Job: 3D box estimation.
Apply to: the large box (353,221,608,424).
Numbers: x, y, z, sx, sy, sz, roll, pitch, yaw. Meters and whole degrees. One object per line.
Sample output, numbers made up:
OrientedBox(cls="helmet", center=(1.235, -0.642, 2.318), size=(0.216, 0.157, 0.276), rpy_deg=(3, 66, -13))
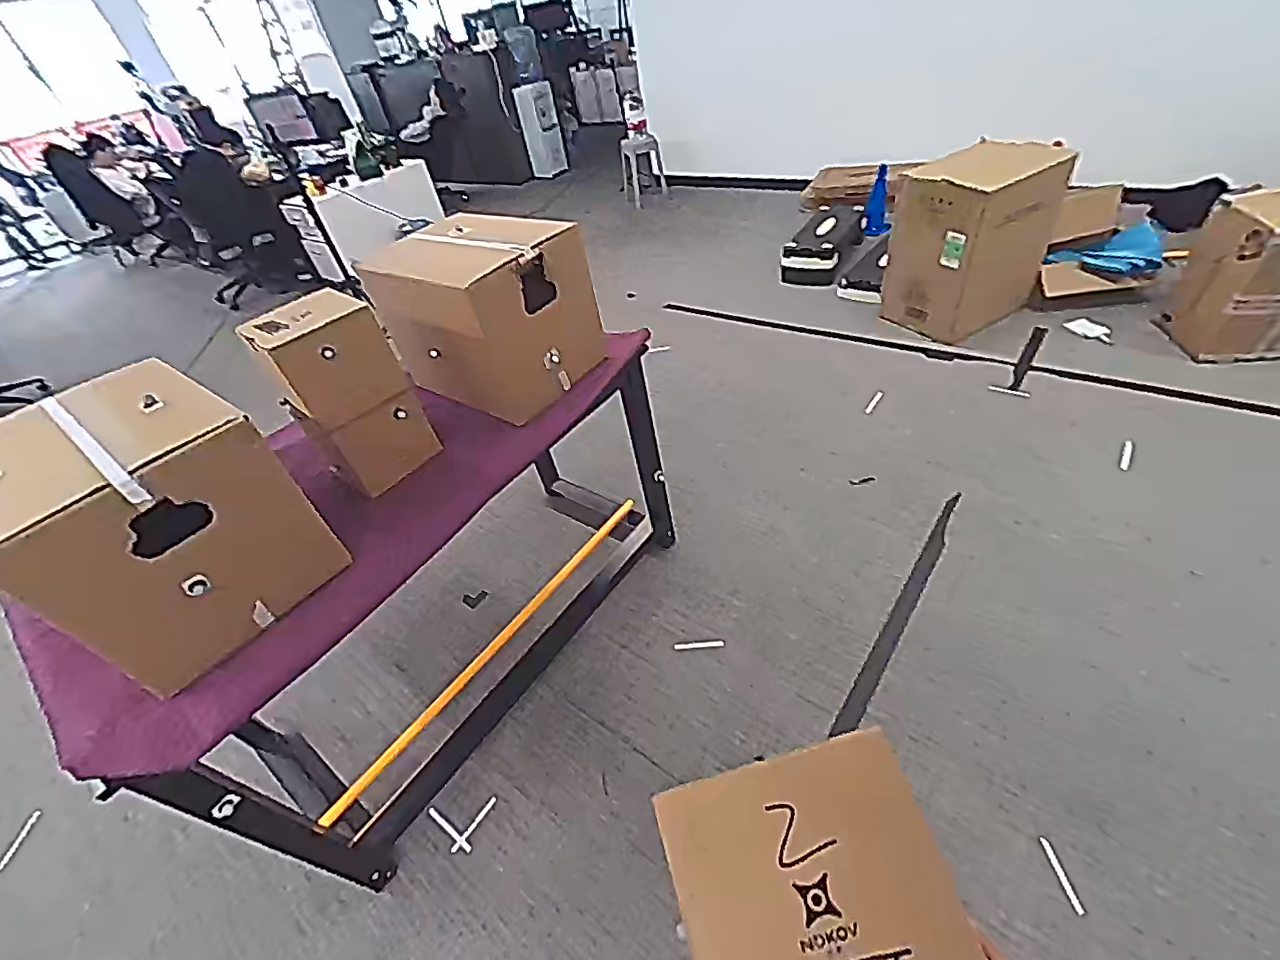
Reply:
OrientedBox(cls="large box", center=(-0.342, -0.369, 1.226), size=(0.408, 0.320, 0.320), rpy_deg=(20, 51, 33))
